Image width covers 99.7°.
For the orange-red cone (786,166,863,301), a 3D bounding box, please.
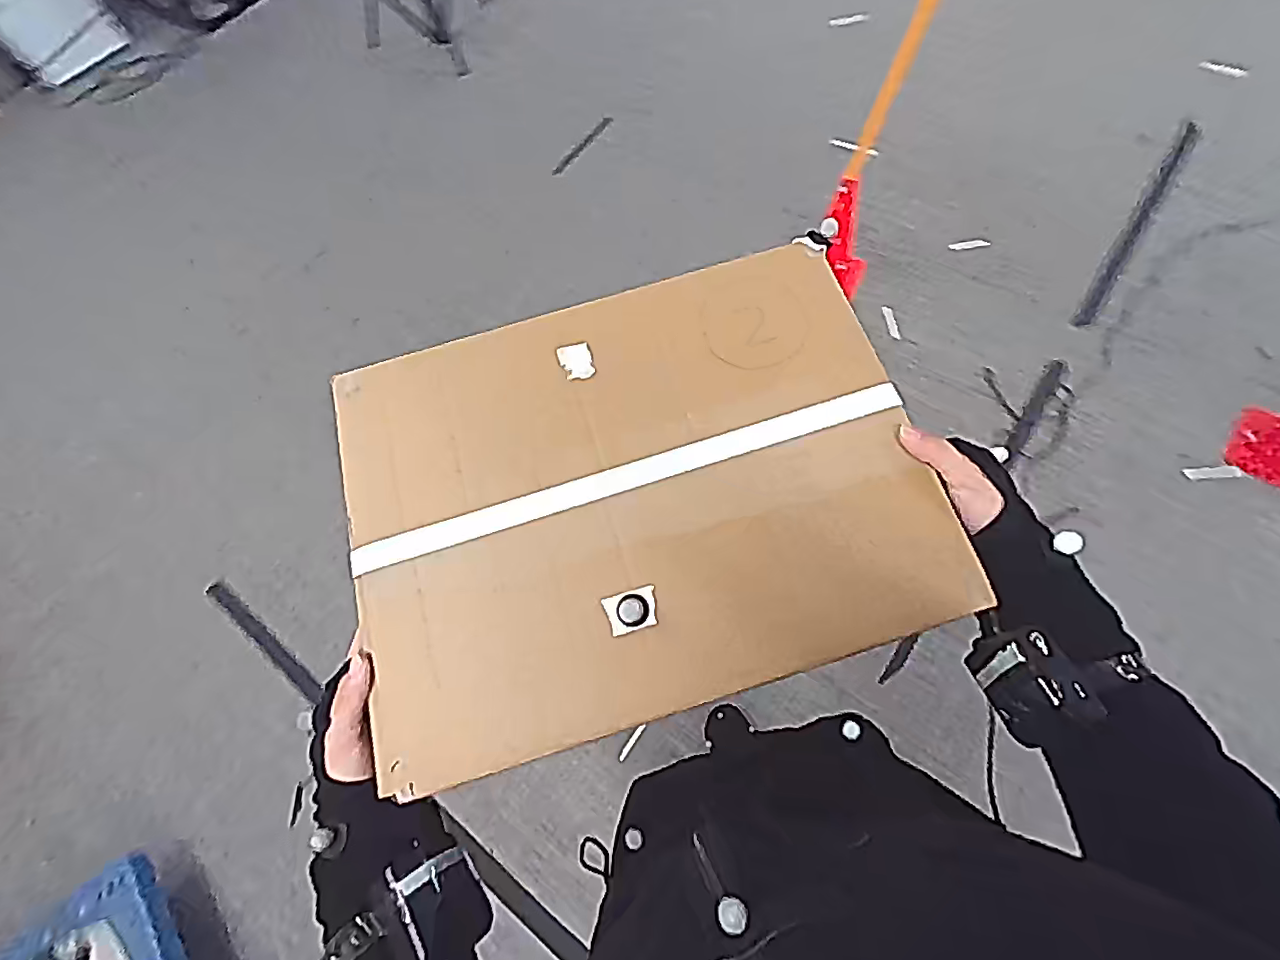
[{"bbox_3d":[0.561,-0.727,1.557,0.199,0.360,0.198,22,70,18],"label":"orange-red cone"}]
